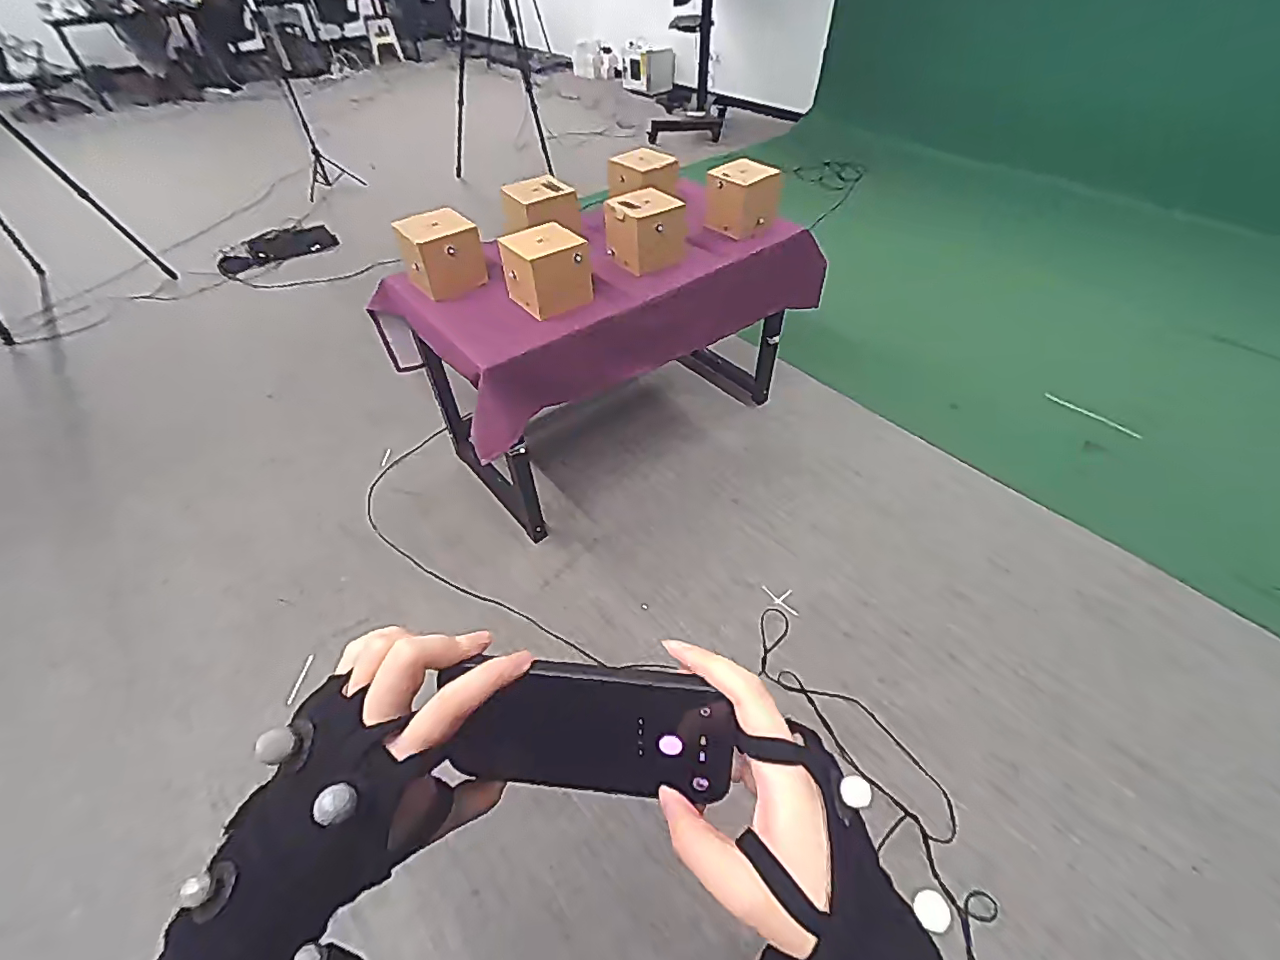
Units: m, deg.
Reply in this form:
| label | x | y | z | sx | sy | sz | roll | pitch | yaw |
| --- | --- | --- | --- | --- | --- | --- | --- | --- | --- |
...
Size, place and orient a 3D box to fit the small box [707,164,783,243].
| label | x | y | z | sx | sy | sz | roll | pitch | yaw |
| --- | --- | --- | --- | --- | --- | --- | --- | --- | --- |
| small box | 0.332 | -0.897 | 1.754 | 0.179 | 0.176 | 0.168 | -32 | 54 | -26 |

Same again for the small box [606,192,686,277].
| label | x | y | z | sx | sy | sz | roll | pitch | yaw |
| --- | --- | --- | --- | --- | --- | --- | --- | --- | --- |
| small box | 0.018 | -0.724 | 1.601 | 0.179 | 0.176 | 0.168 | -28 | 53 | -24 |

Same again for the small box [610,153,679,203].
| label | x | y | z | sx | sy | sz | roll | pitch | yaw |
| --- | --- | --- | --- | --- | --- | --- | --- | --- | --- |
| small box | 0.014 | -0.992 | 1.848 | 0.168 | 0.176 | 0.179 | -34 | 56 | -26 |

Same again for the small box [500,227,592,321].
| label | x | y | z | sx | sy | sz | roll | pitch | yaw |
| --- | --- | --- | --- | --- | --- | --- | --- | --- | --- |
| small box | -0.245 | -0.548 | 1.443 | 0.179 | 0.176 | 0.168 | -30 | 53 | -25 |
